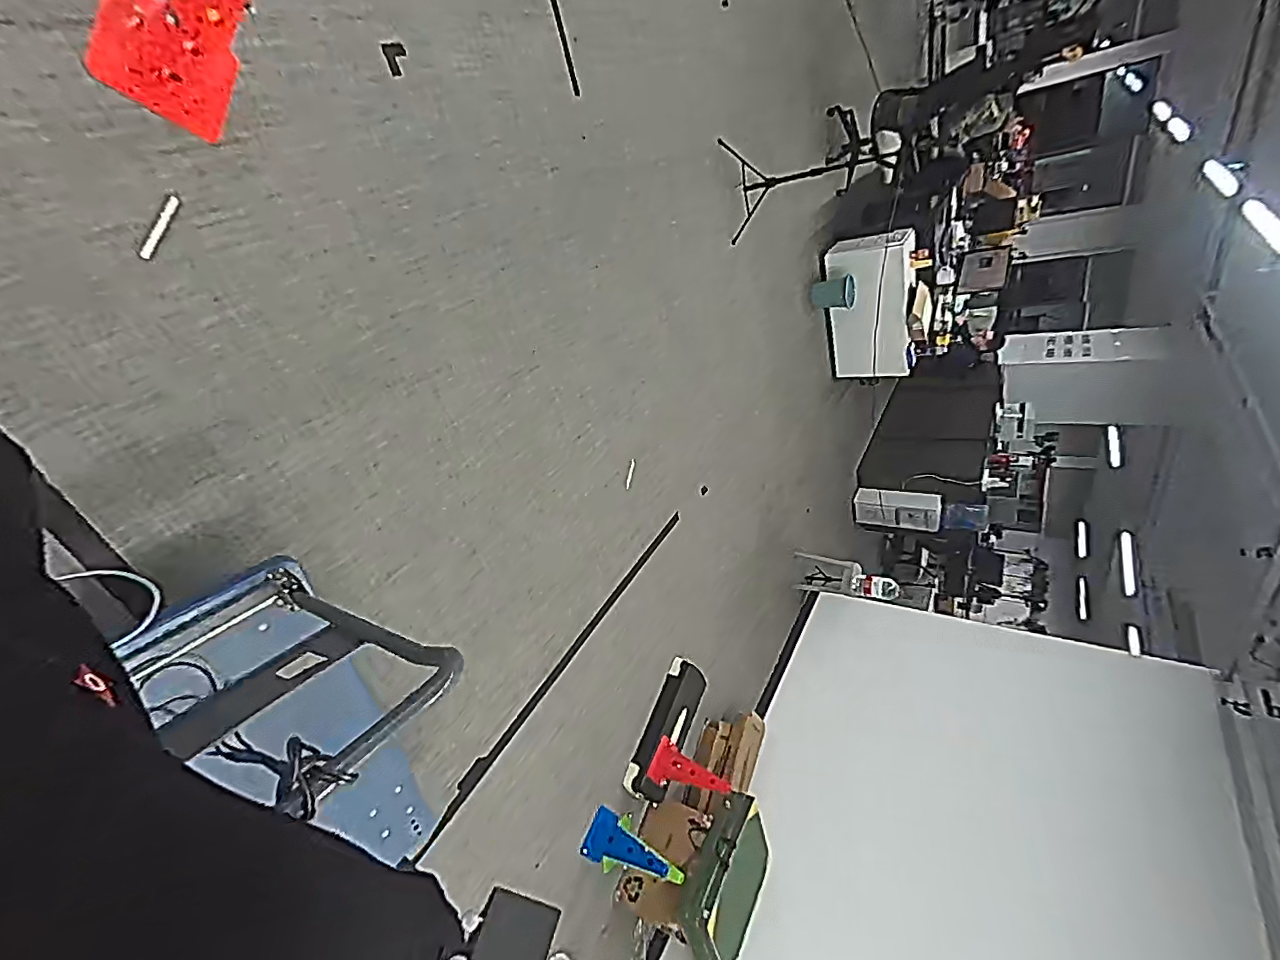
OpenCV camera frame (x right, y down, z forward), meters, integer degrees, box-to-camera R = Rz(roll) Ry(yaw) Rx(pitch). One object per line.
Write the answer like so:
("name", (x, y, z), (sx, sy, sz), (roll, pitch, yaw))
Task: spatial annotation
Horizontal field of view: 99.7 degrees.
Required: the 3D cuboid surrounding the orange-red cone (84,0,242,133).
("orange-red cone", (-0.763, -0.785, 0.928), (0.198, 0.360, 0.199), (20, 80, -53))
